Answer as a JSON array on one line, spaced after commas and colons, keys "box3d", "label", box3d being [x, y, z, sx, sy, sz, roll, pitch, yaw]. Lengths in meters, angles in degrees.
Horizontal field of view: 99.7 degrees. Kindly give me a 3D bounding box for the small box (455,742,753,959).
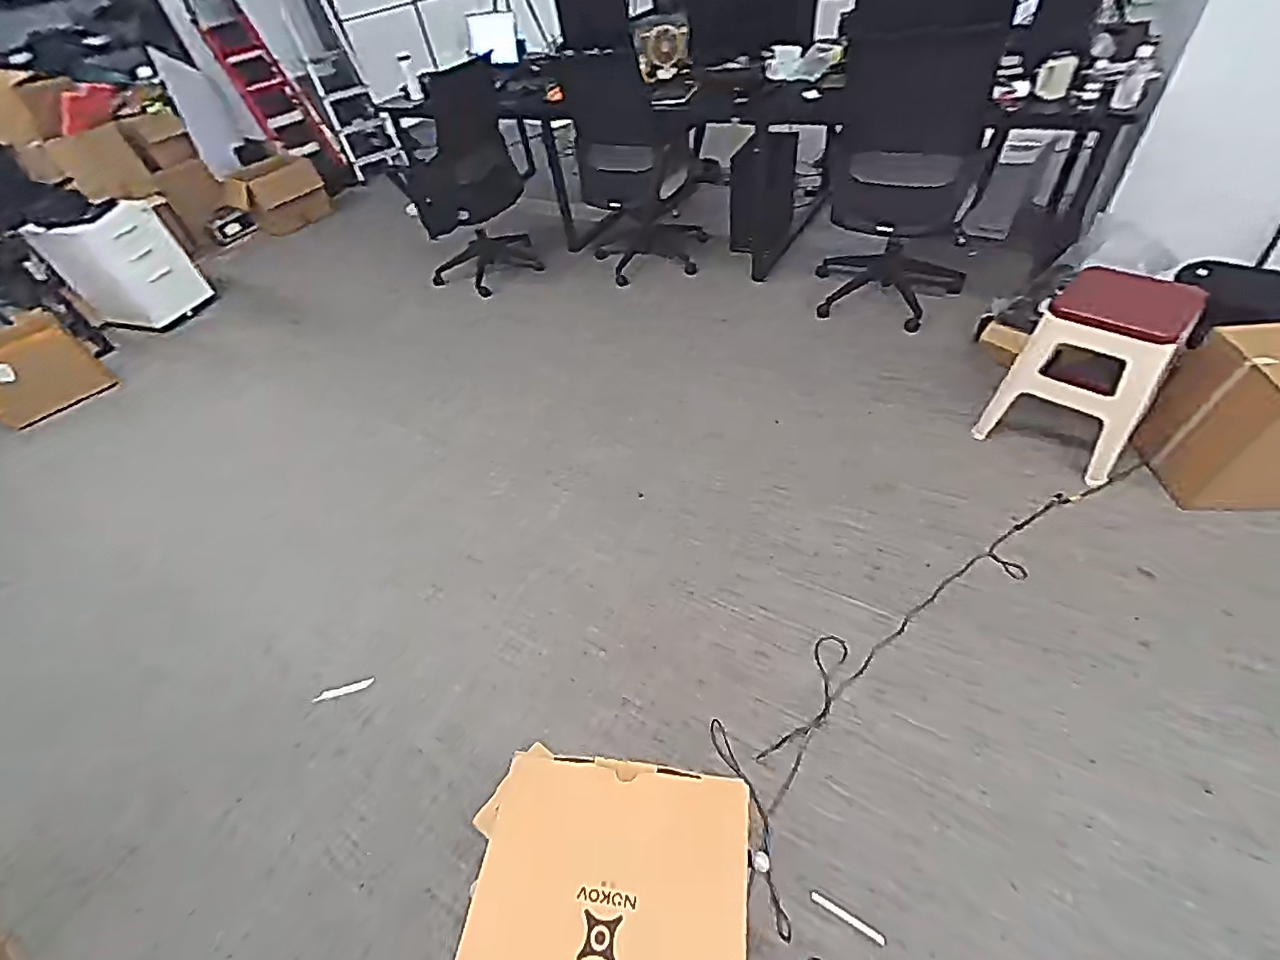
[{"box3d": [-0.009, 0.304, 0.365, 0.168, 0.176, 0.179, 1, 46, 10], "label": "small box"}]
